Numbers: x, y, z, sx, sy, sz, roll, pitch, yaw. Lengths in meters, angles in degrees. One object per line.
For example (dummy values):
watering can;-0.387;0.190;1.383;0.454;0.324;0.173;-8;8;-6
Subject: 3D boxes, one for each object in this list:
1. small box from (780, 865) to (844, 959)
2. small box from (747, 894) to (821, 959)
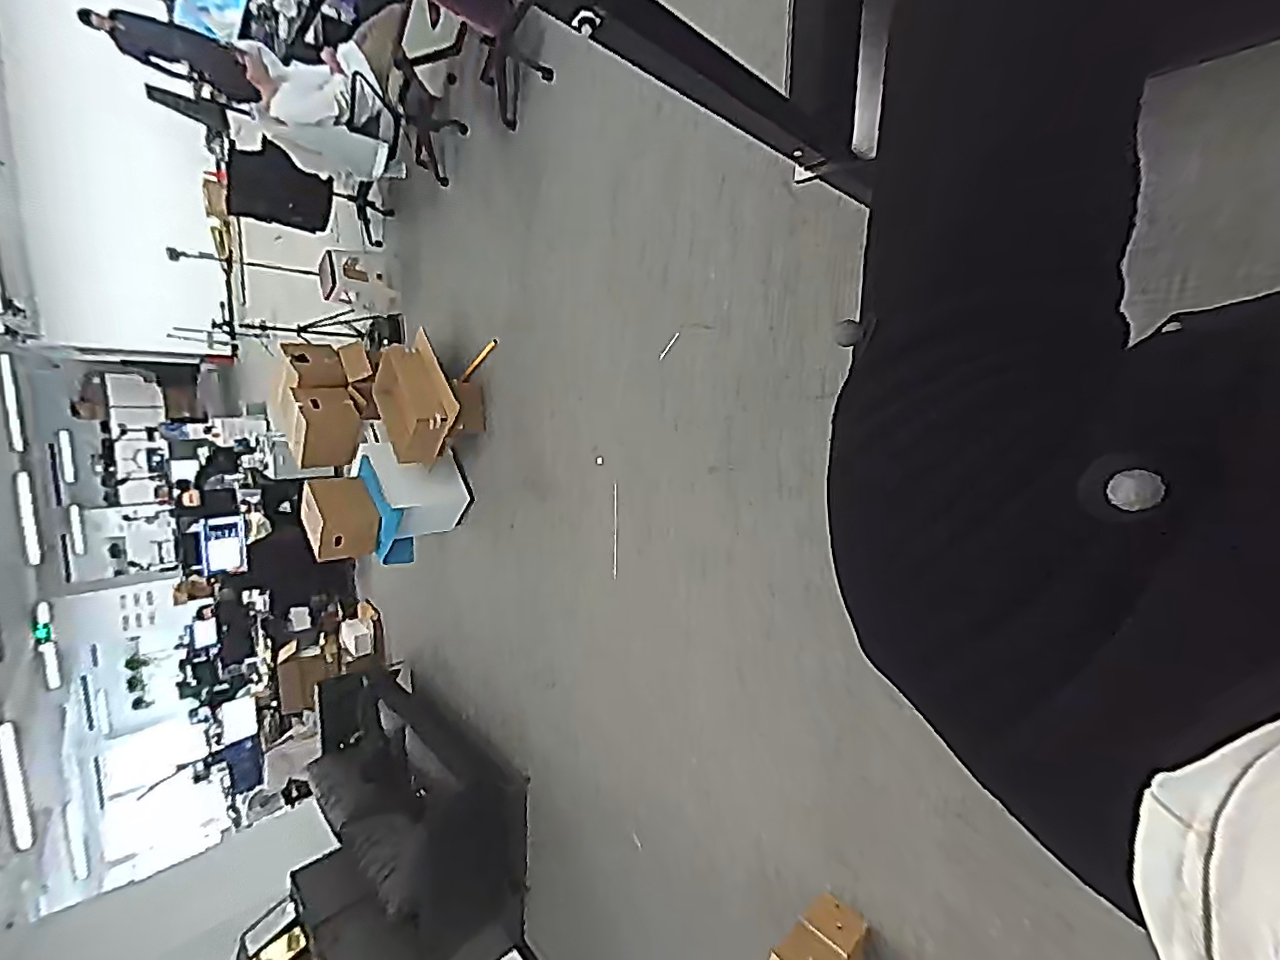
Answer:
small box;0.600;1.516;1.901;0.168;0.176;0.179;13;106;44
small box;0.480;1.538;1.791;0.179;0.176;0.168;15;107;42
